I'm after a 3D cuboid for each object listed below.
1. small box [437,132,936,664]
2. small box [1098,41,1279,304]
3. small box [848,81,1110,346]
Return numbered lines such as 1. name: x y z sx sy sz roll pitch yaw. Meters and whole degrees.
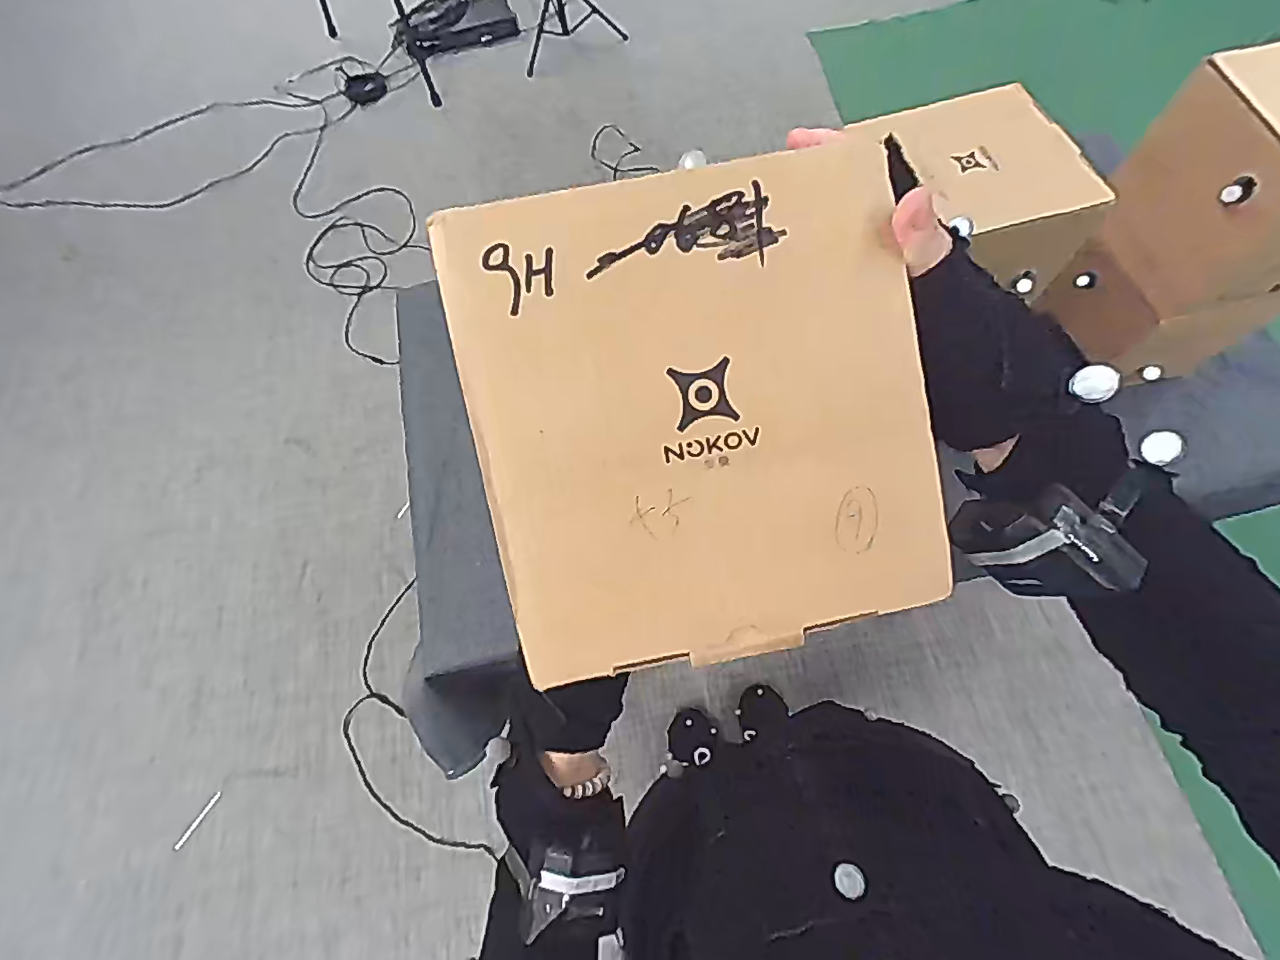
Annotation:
1. small box: 0.018 -0.036 0.281 0.168 0.176 0.179 -11 96 -3
2. small box: 0.620 -0.298 0.542 0.168 0.176 0.179 -10 68 1
3. small box: 0.302 -0.256 0.557 0.179 0.176 0.168 -14 67 0
